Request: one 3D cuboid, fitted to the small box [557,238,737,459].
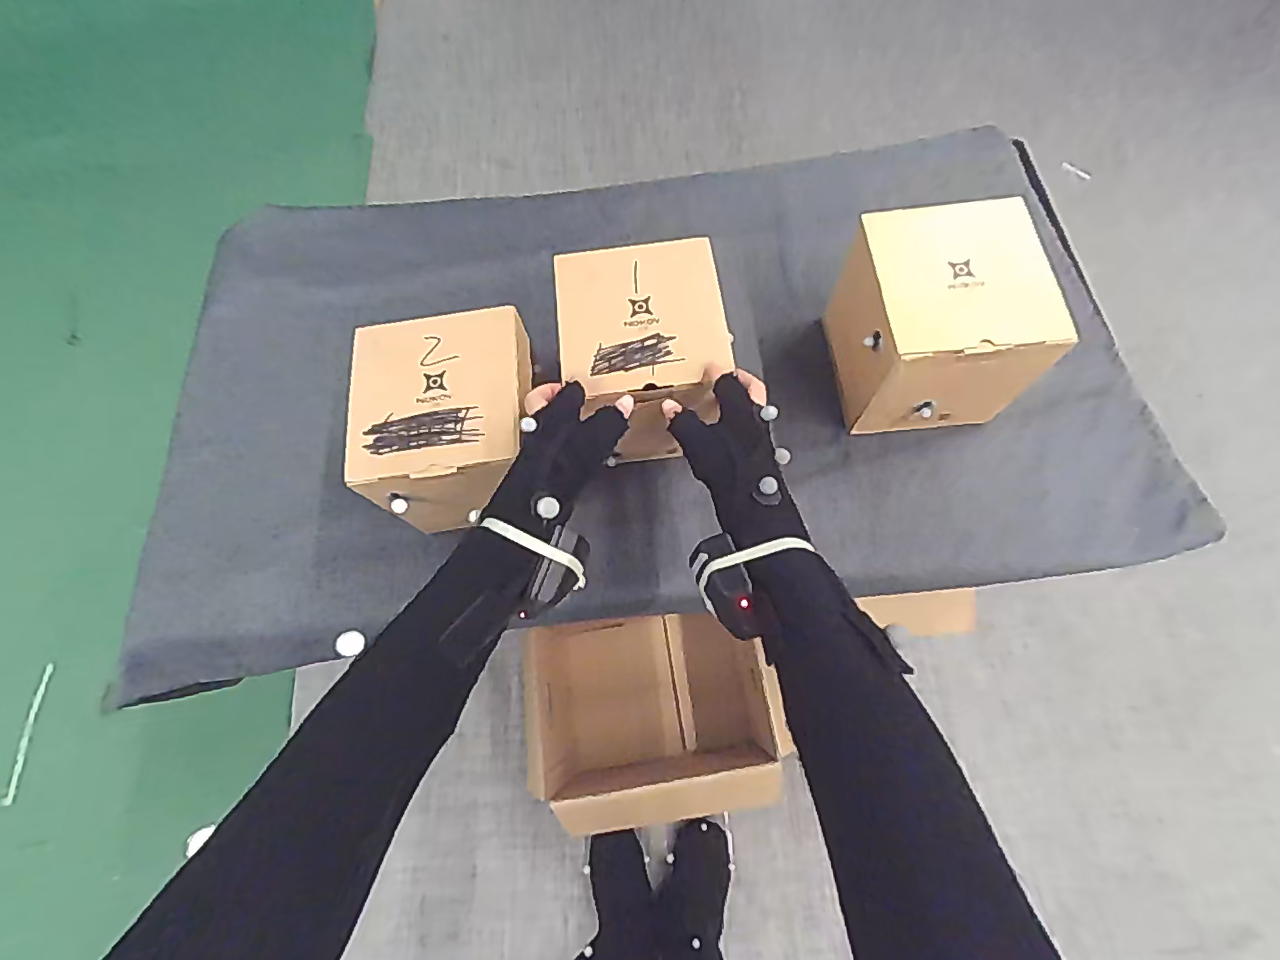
[{"bbox_3d":[0.008,-0.133,0.605,0.168,0.176,0.179,-7,68,1],"label":"small box"}]

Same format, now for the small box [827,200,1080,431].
[{"bbox_3d":[0.321,-0.172,0.600,0.168,0.176,0.179,-5,70,3],"label":"small box"}]
